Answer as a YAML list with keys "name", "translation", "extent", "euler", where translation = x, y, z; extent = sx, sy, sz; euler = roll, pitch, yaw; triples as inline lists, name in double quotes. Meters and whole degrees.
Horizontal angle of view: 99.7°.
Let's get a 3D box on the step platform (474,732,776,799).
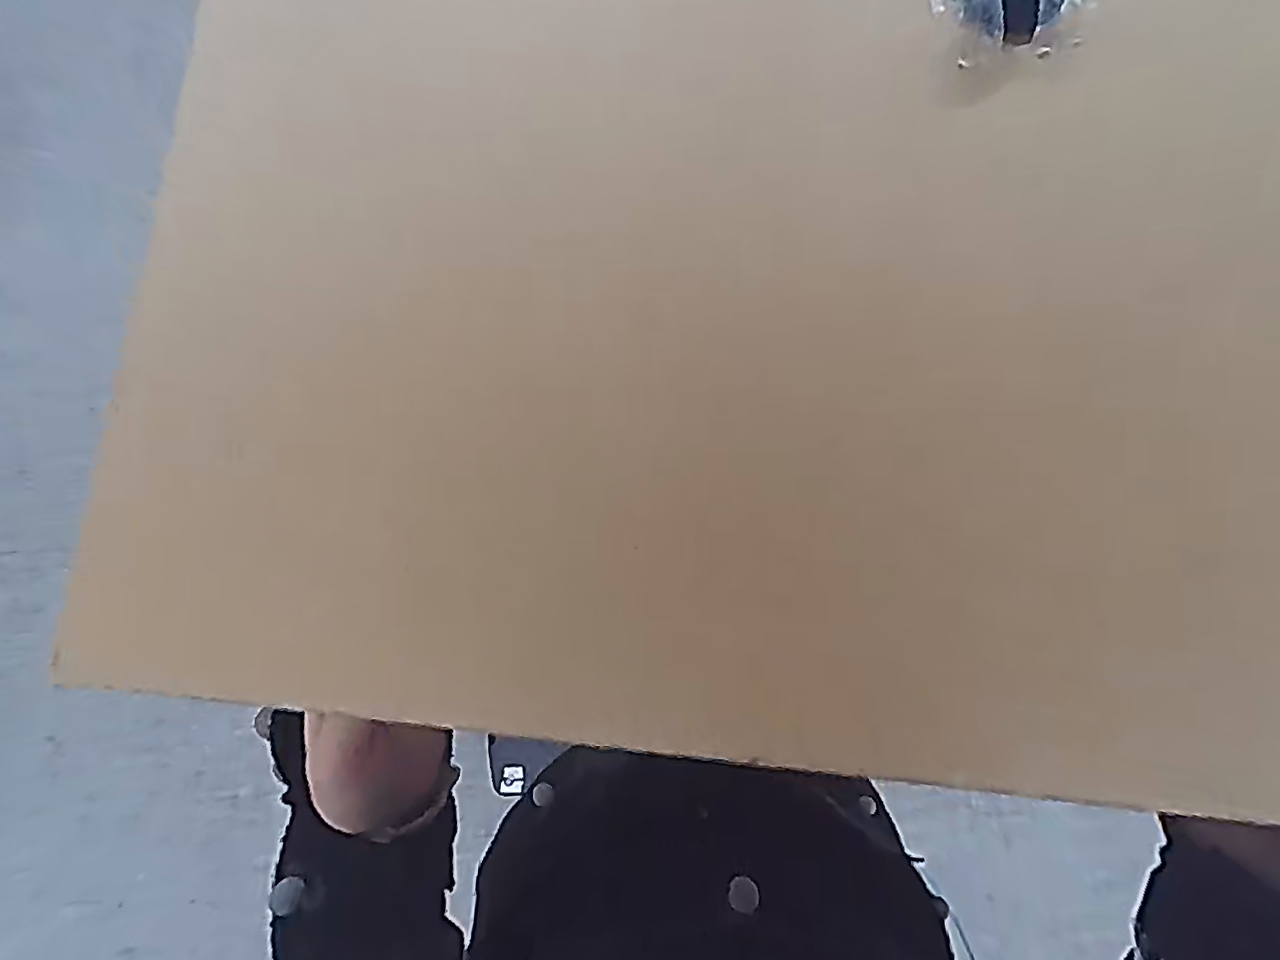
- name: "step platform"
  translation: [-0.030, 0.553, 1.258]
  extent: [0.684, 0.204, 0.286]
  euler: [1, 78, 2]
